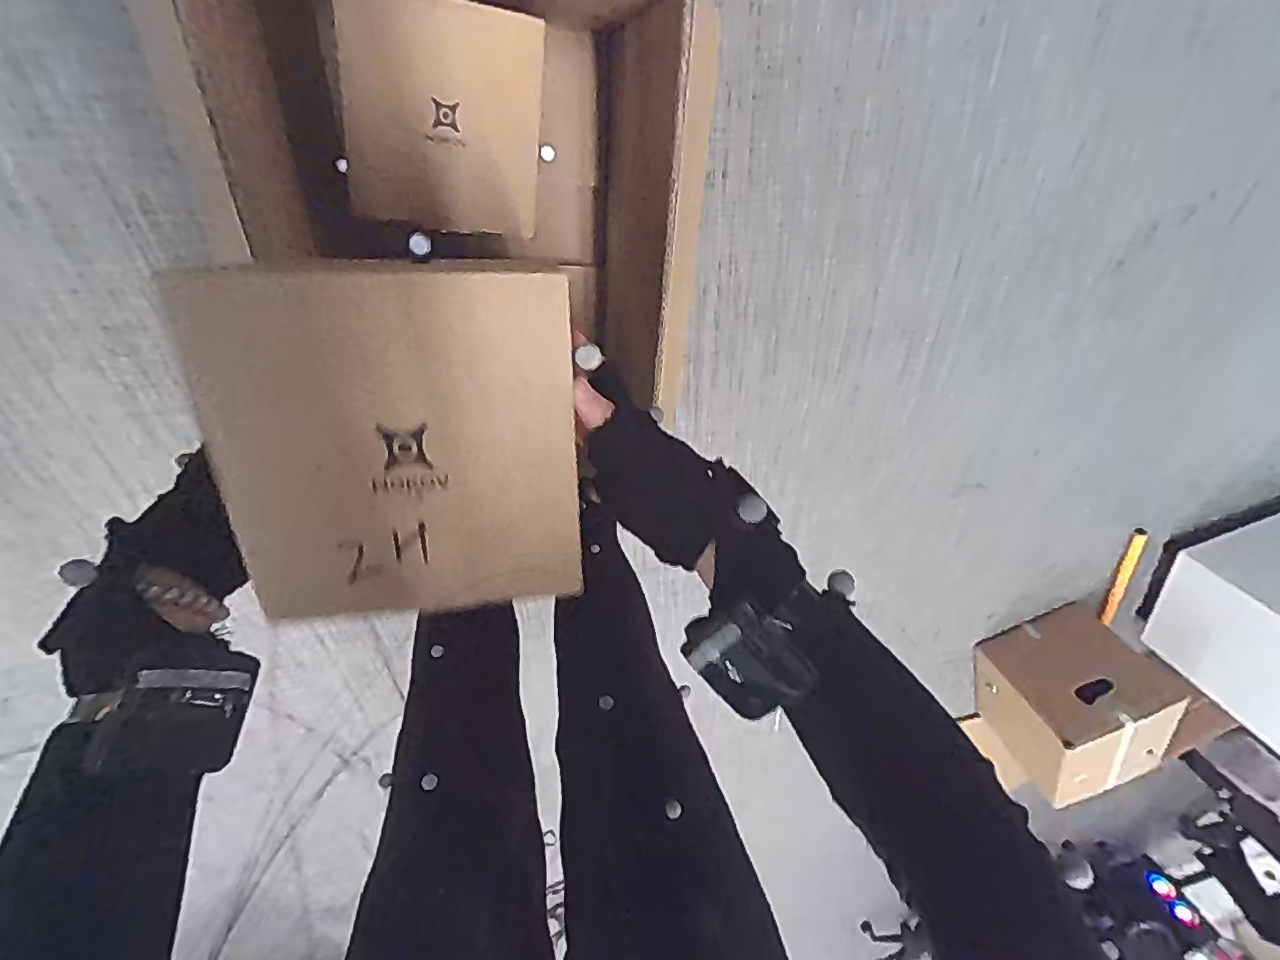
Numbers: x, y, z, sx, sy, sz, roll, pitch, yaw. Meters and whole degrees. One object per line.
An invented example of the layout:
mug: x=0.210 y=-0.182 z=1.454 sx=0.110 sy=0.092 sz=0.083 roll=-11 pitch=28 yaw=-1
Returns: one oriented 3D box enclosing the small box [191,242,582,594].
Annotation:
small box: x=-0.125 y=-0.052 z=0.344 sx=0.168 sy=0.176 sz=0.179 roll=-2 pitch=114 yaw=-9
